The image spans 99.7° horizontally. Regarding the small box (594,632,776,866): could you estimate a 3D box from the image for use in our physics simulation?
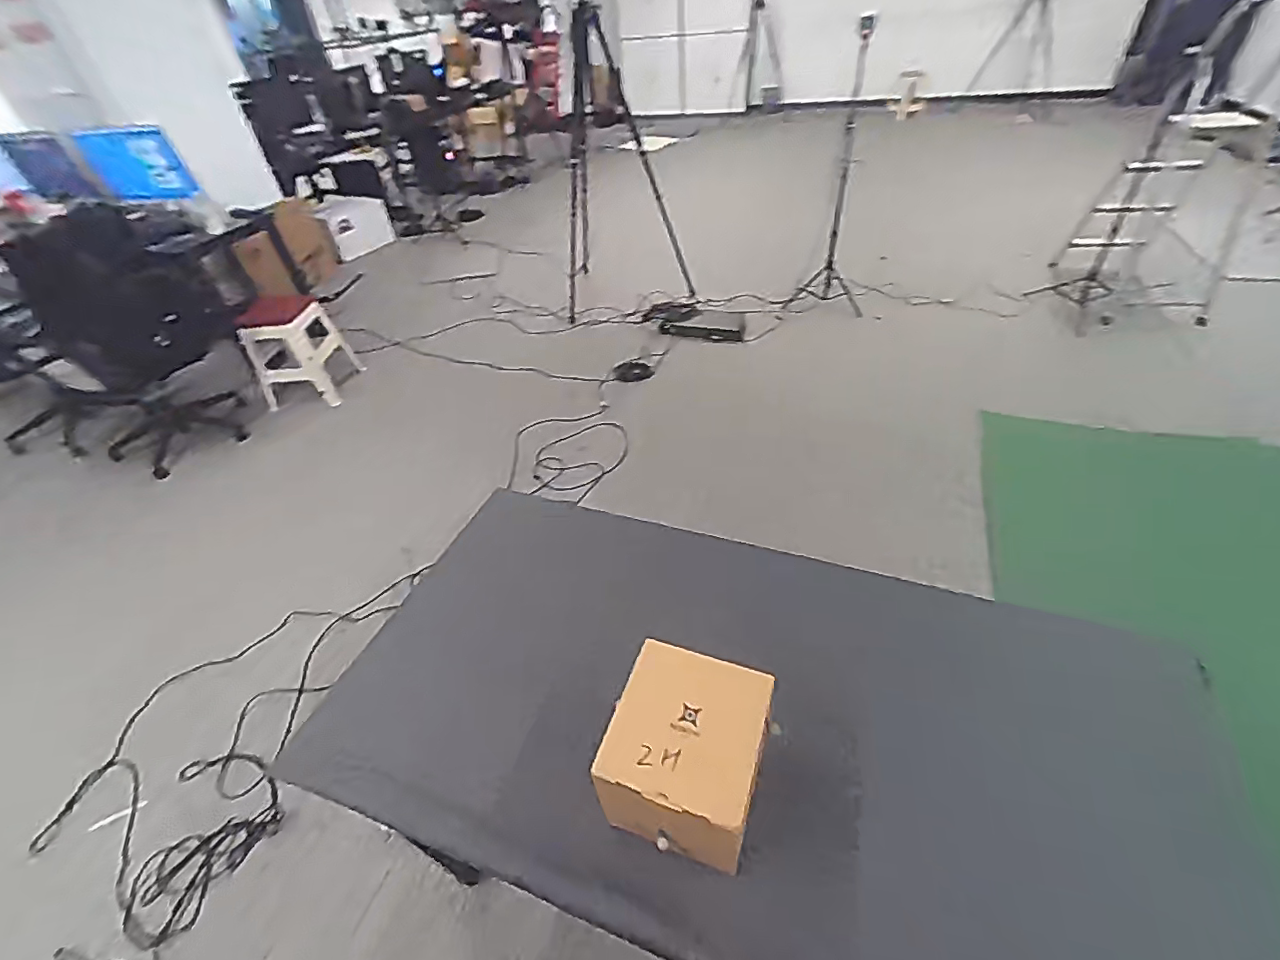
[{"bbox_3d":[0.061,0.325,0.661,0.168,0.176,0.179,11,45,20],"label":"small box"}]
